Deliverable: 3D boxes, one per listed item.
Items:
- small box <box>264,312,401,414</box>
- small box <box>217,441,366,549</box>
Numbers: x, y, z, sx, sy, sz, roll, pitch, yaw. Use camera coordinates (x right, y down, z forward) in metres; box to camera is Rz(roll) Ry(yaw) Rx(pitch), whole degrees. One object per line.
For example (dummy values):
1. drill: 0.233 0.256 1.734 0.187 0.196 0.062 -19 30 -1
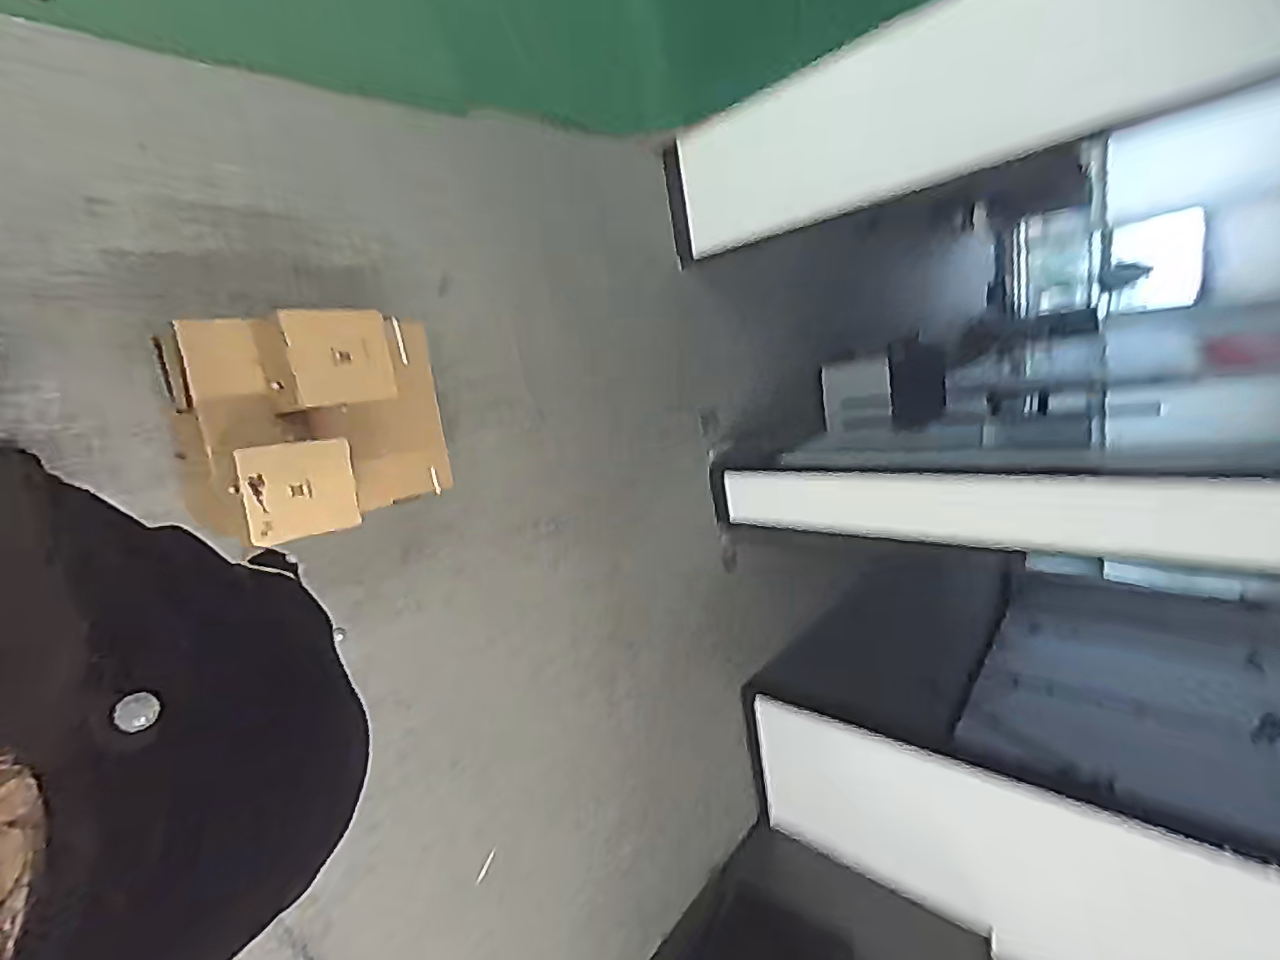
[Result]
1. small box: -0.591 -0.220 1.032 0.179 0.176 0.168 -17 104 -47
2. small box: -0.634 0.018 0.987 0.179 0.176 0.168 -14 102 -47
